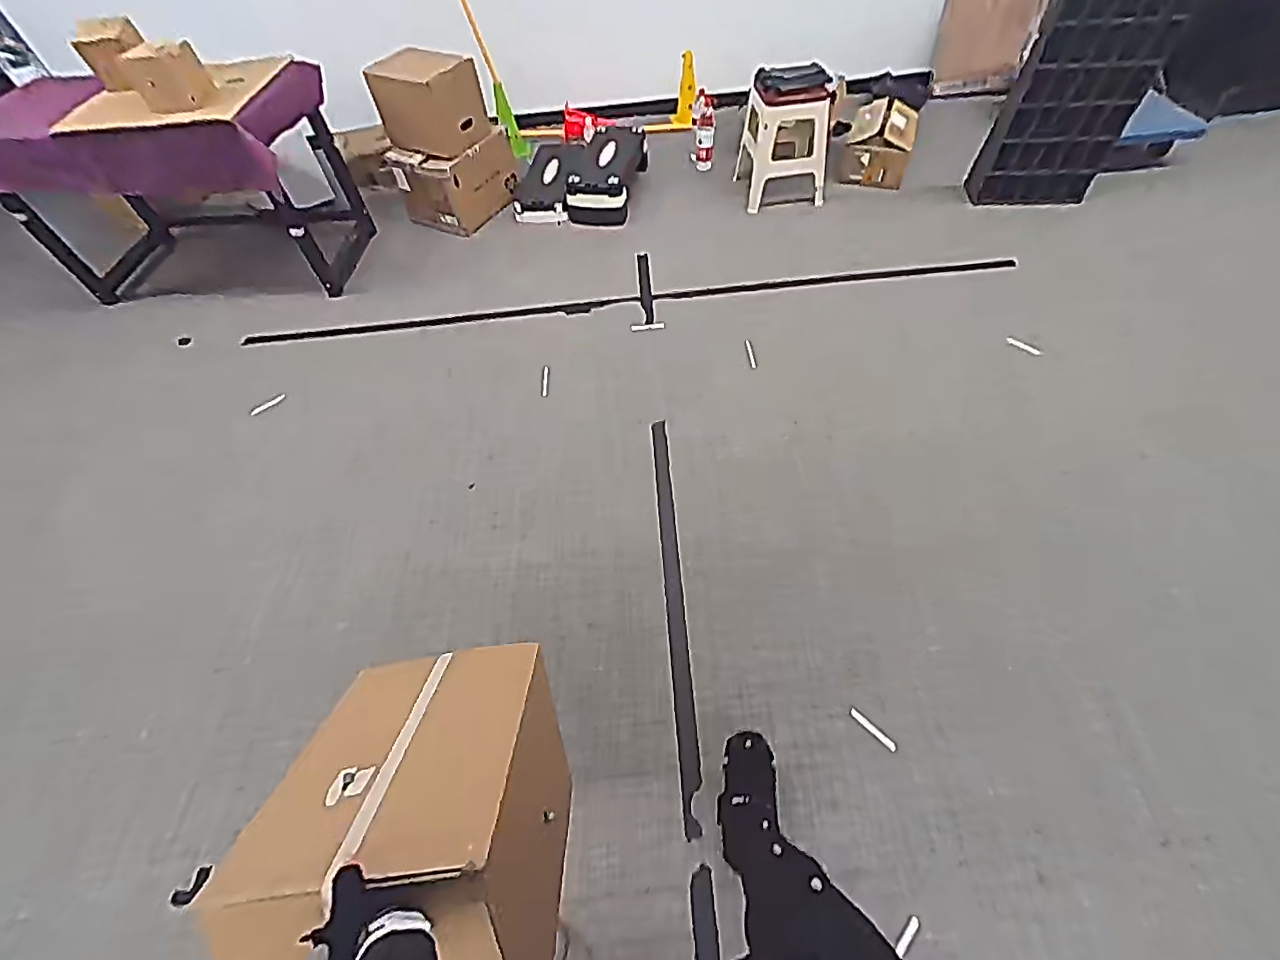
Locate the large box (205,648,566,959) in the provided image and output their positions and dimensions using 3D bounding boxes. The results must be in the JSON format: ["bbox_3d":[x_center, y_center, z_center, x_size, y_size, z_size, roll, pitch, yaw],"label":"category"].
[{"bbox_3d":[-0.299,0.515,0.801,0.320,0.320,0.408,-10,18,1],"label":"large box"}]
